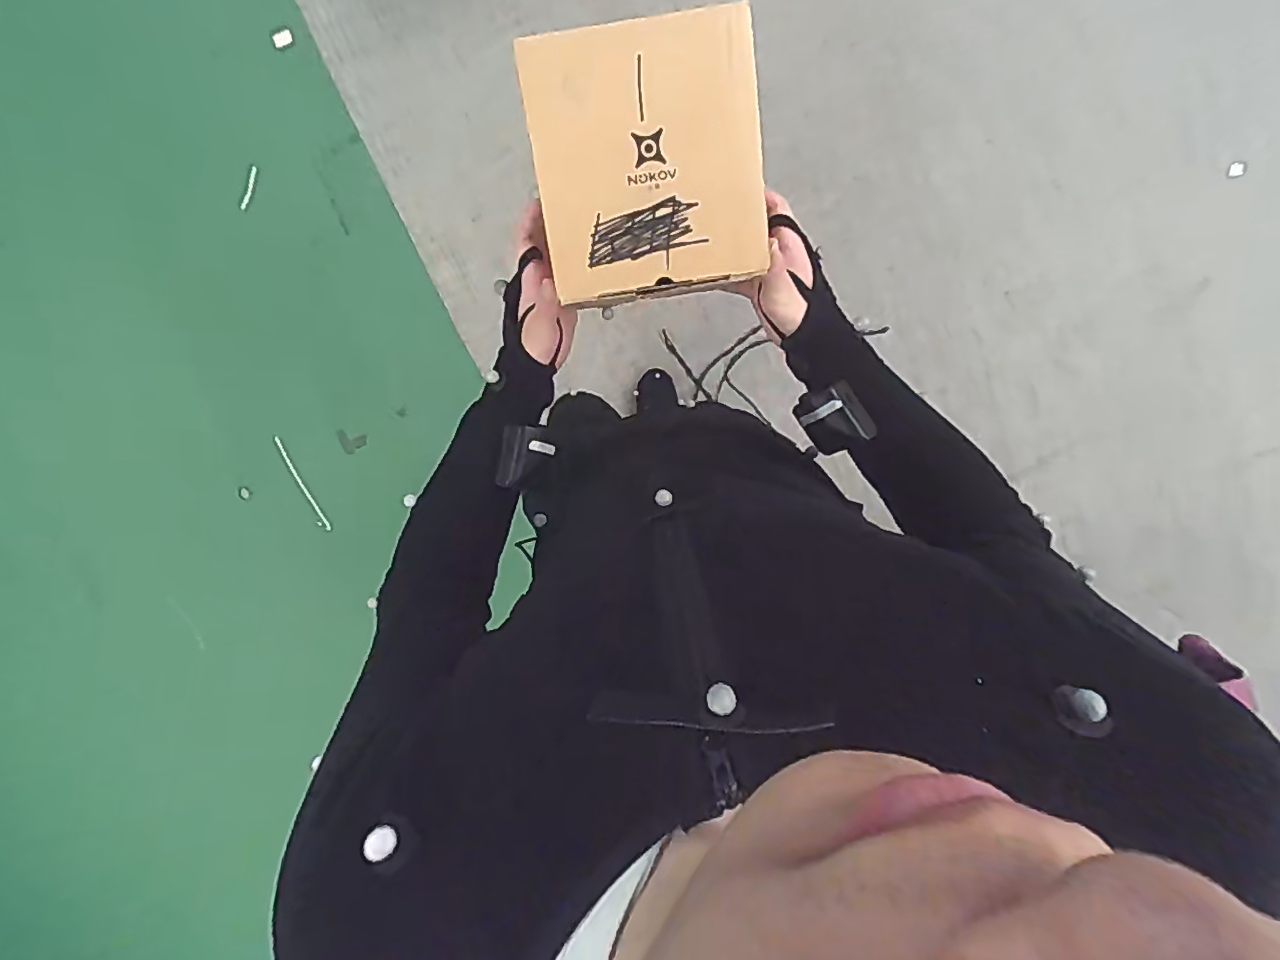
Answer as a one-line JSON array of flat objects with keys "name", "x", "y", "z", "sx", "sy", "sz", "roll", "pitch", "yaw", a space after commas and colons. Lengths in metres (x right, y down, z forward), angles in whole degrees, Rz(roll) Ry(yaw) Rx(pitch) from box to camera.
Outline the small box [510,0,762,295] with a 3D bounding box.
[{"name": "small box", "x": 0.002, "y": -0.259, "z": 0.463, "sx": 0.168, "sy": 0.176, "sz": 0.179, "roll": -8, "pitch": 106, "yaw": 2}]
